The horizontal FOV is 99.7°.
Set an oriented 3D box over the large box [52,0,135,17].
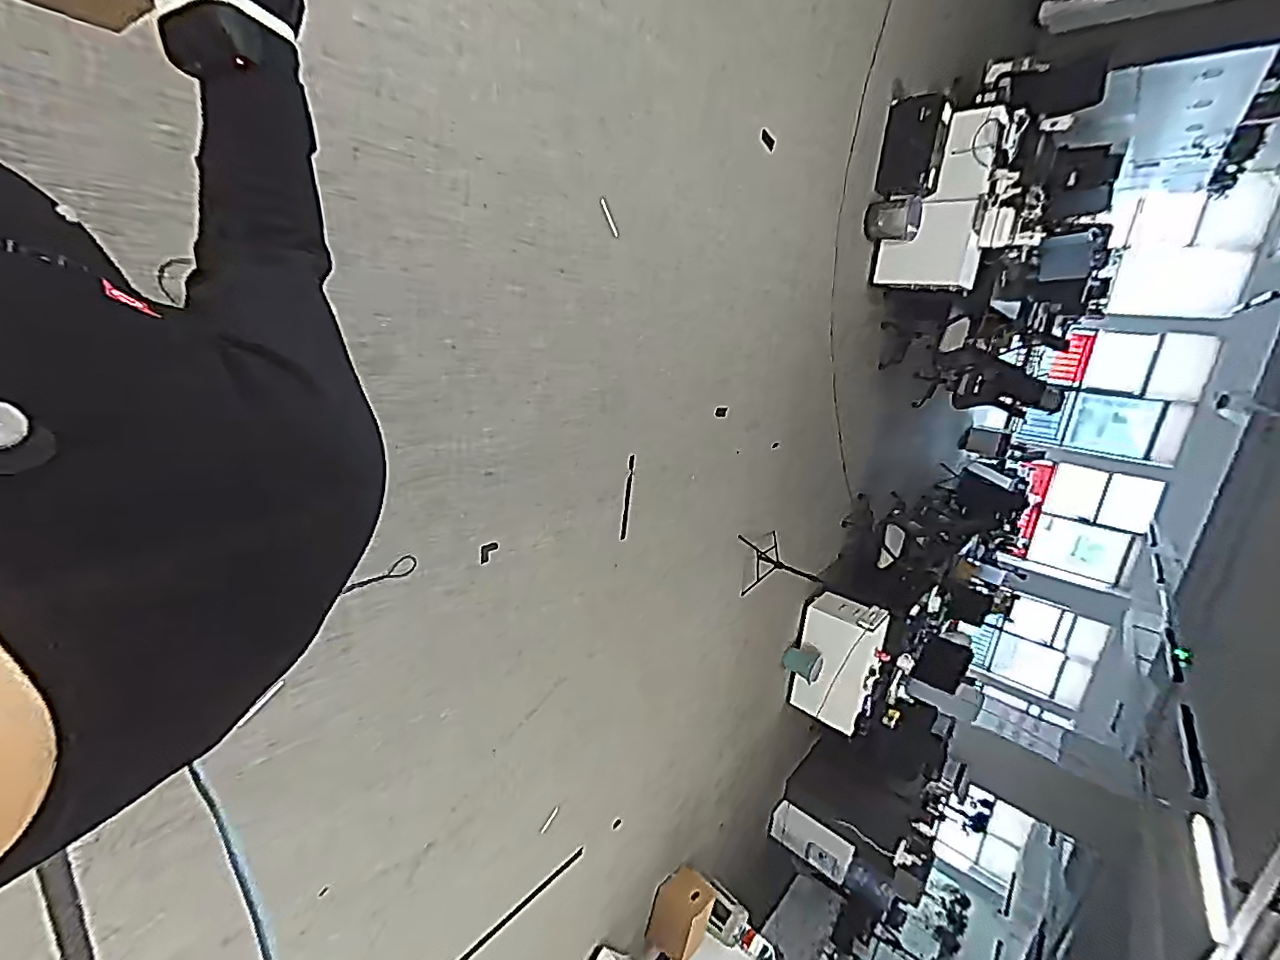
[{"bbox_3d":[-0.521,-0.518,0.262,0.408,0.320,0.320,-15,122,-49],"label":"large box"}]
